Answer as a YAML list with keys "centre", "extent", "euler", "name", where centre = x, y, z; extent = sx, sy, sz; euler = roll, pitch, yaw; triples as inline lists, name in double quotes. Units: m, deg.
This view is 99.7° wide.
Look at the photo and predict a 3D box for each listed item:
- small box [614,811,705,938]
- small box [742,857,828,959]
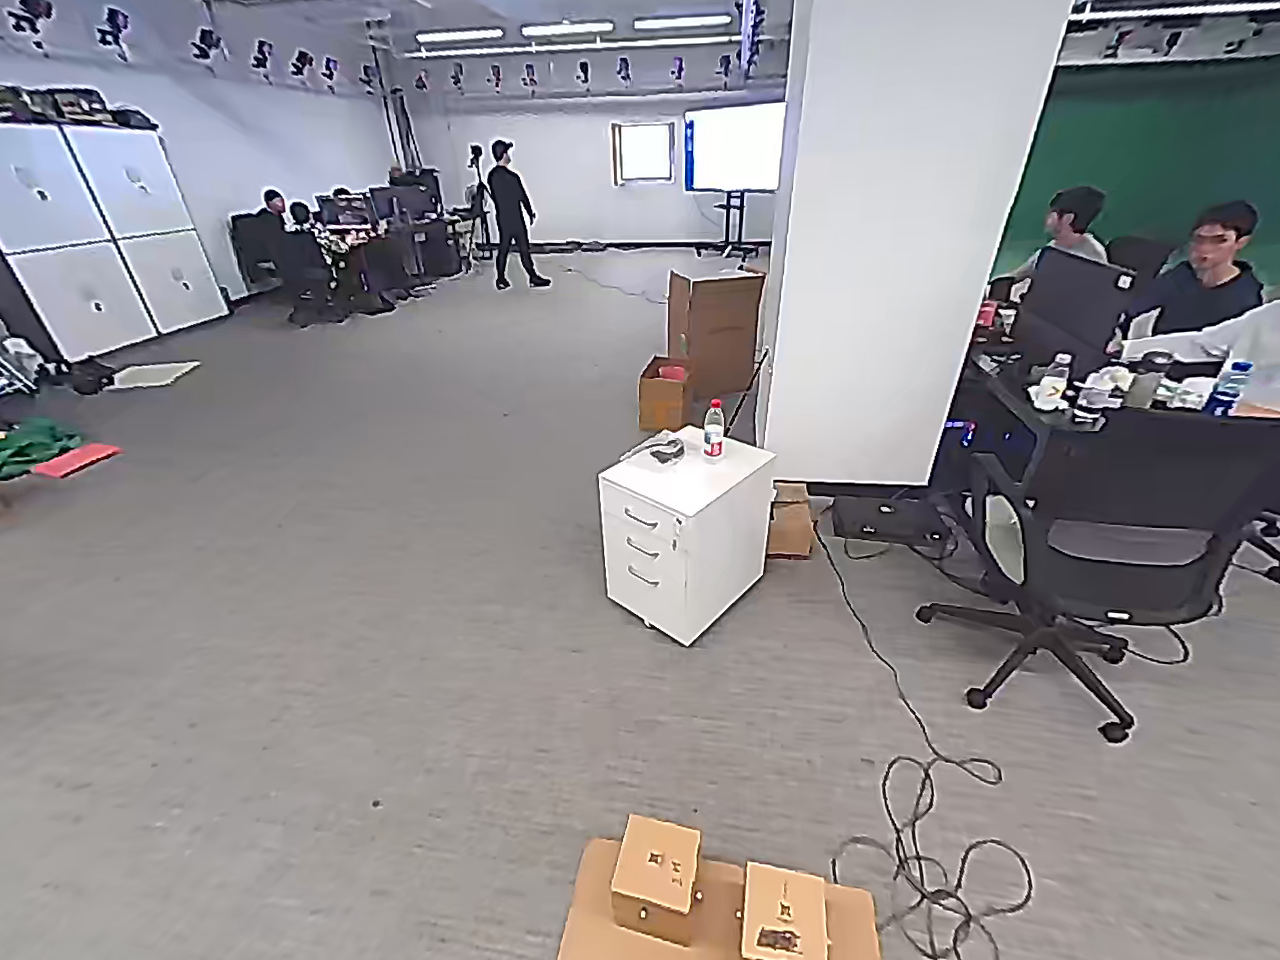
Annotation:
- centre: [0.050, 0.916, 1.256]
  extent: [0.179, 0.176, 0.168]
  euler: [6, 33, 15]
  name: "small box"
- centre: [0.310, 0.964, 1.162]
  extent: [0.168, 0.176, 0.179]
  euler: [4, 31, 14]
  name: "small box"
